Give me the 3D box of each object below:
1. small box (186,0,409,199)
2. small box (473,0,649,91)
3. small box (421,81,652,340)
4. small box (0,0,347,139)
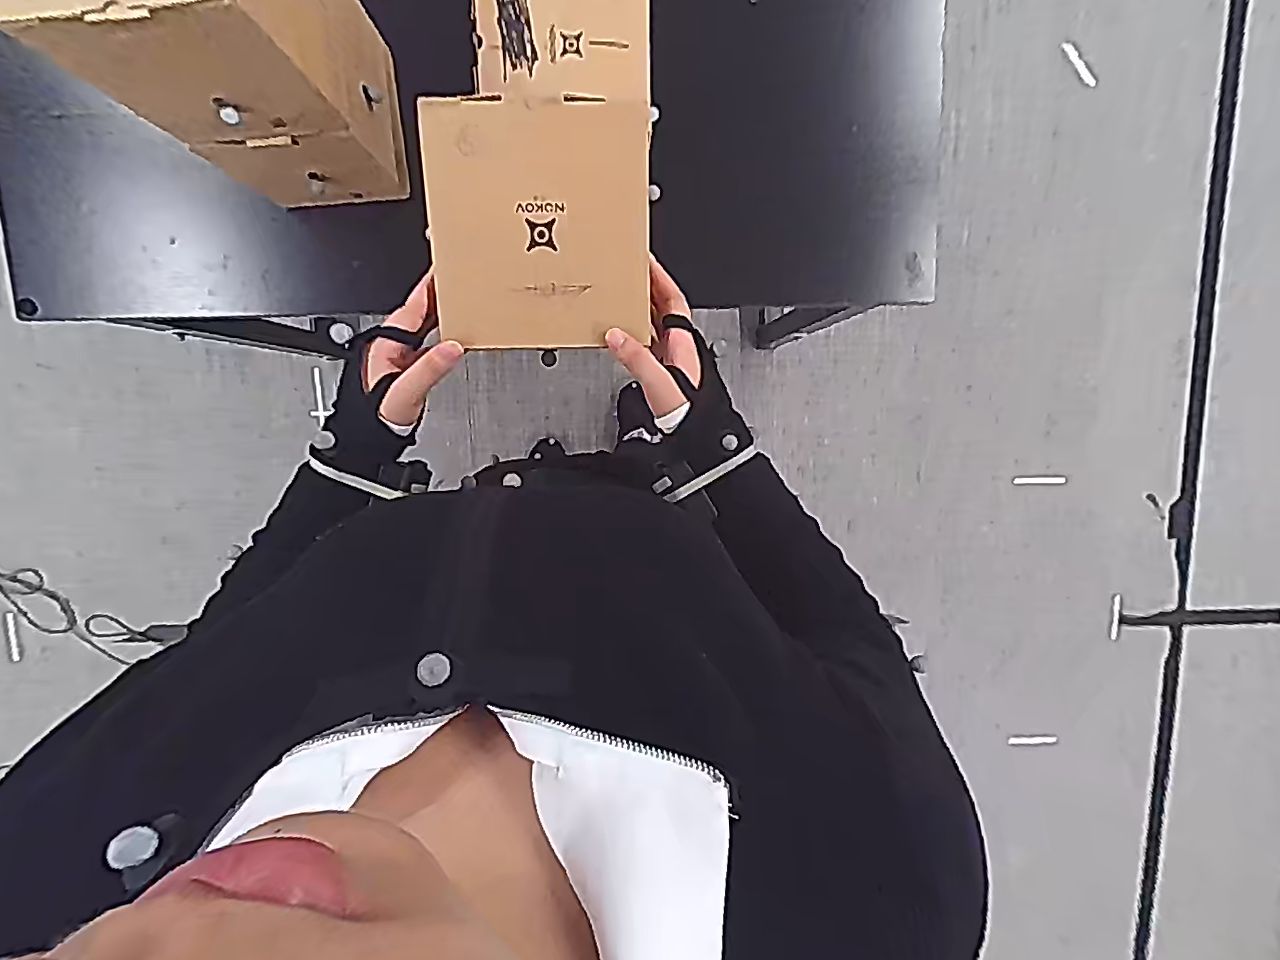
[{"bbox_3d":[-0.380,-0.436,0.610,0.168,0.176,0.179,-6,98,-1],"label":"small box"},{"bbox_3d":[-0.081,-0.446,0.620,0.179,0.176,0.168,-1,97,-3],"label":"small box"},{"bbox_3d":[-0.078,-0.218,0.483,0.168,0.176,0.179,-2,104,-3],"label":"small box"},{"bbox_3d":[-0.373,-0.420,0.445,0.168,0.176,0.179,-7,97,-1],"label":"small box"}]
